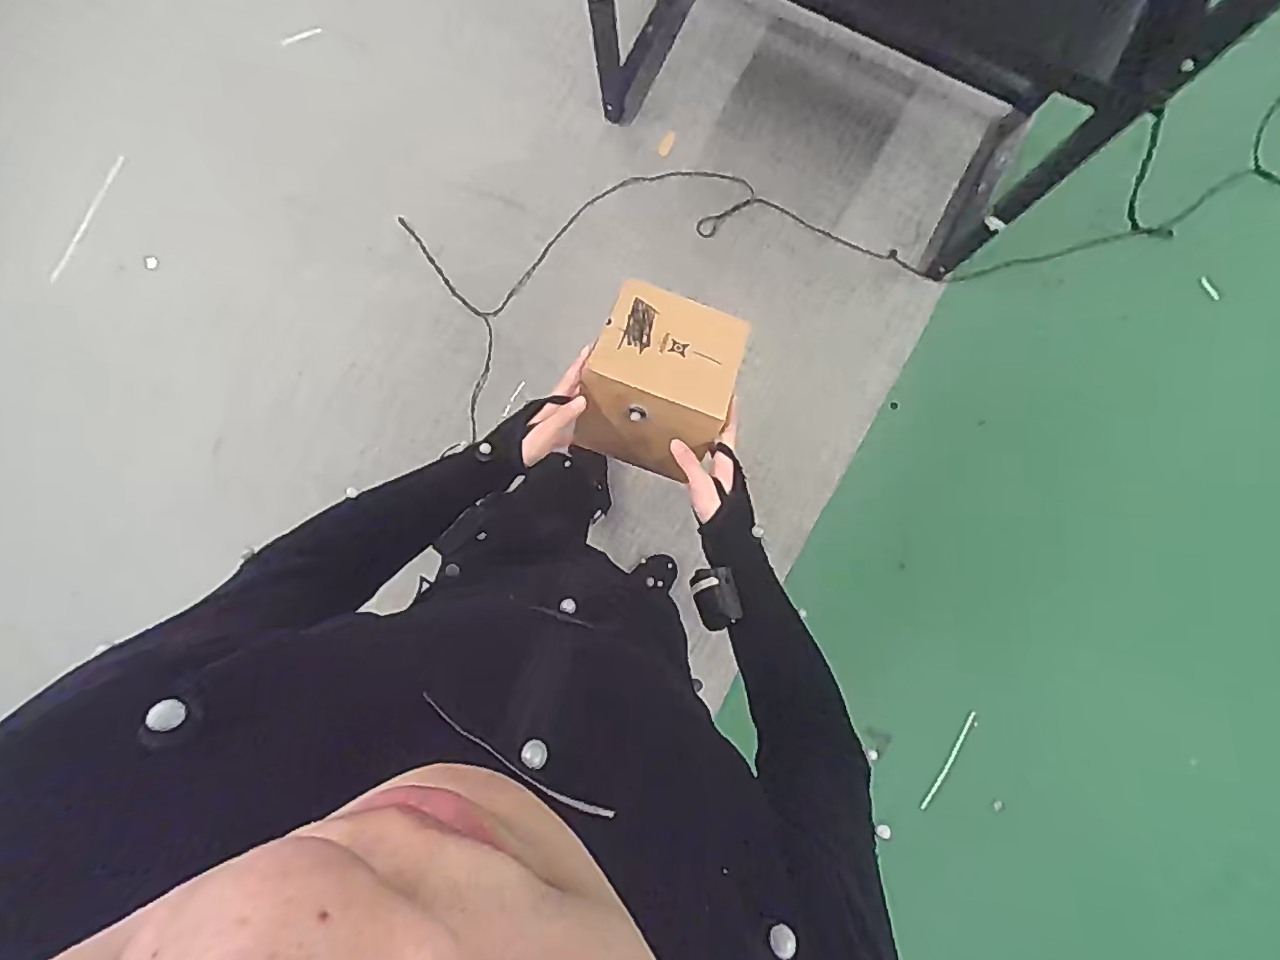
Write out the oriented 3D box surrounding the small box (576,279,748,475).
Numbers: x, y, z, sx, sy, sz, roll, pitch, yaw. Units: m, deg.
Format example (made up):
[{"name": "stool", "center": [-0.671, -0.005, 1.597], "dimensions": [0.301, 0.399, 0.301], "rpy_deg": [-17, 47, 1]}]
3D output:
[{"name": "small box", "center": [0.022, -0.129, 0.726], "dimensions": [0.179, 0.176, 0.168], "rpy_deg": [20, 61, -1]}]
